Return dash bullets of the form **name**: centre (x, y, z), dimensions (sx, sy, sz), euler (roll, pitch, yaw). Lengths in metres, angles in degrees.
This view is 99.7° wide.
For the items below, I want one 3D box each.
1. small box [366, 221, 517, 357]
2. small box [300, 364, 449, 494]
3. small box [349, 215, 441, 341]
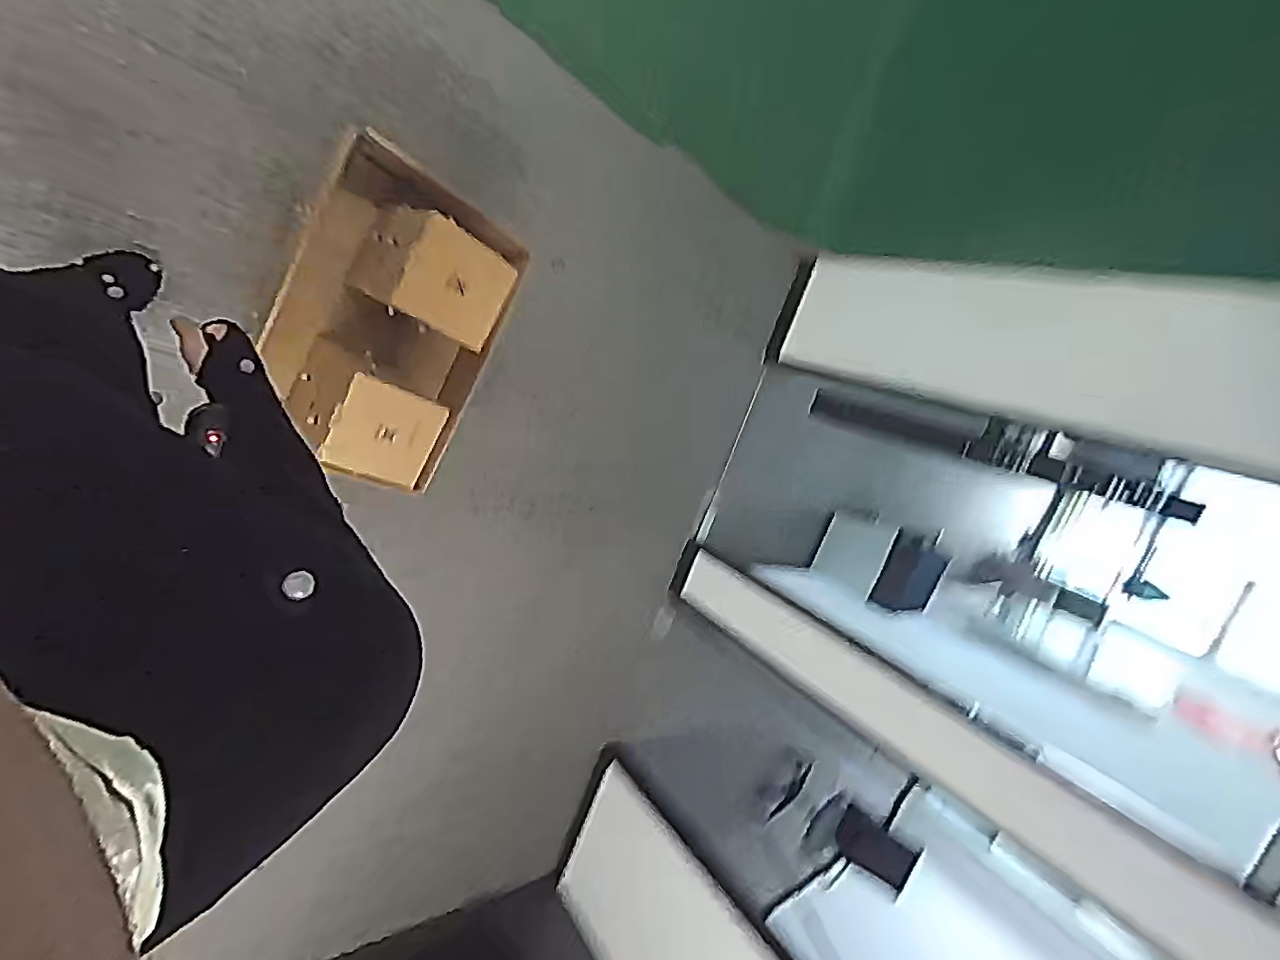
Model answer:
- **small box**: centre (-0.364, -0.352, 0.988), dimensions (0.179, 0.176, 0.168), euler (26, 93, -45)
- **small box**: centre (-0.494, -0.099, 0.996), dimensions (0.179, 0.176, 0.168), euler (26, 94, -46)
- **small box**: centre (-0.465, -0.414, 1.102), dimensions (0.168, 0.176, 0.179), euler (28, 92, -45)
